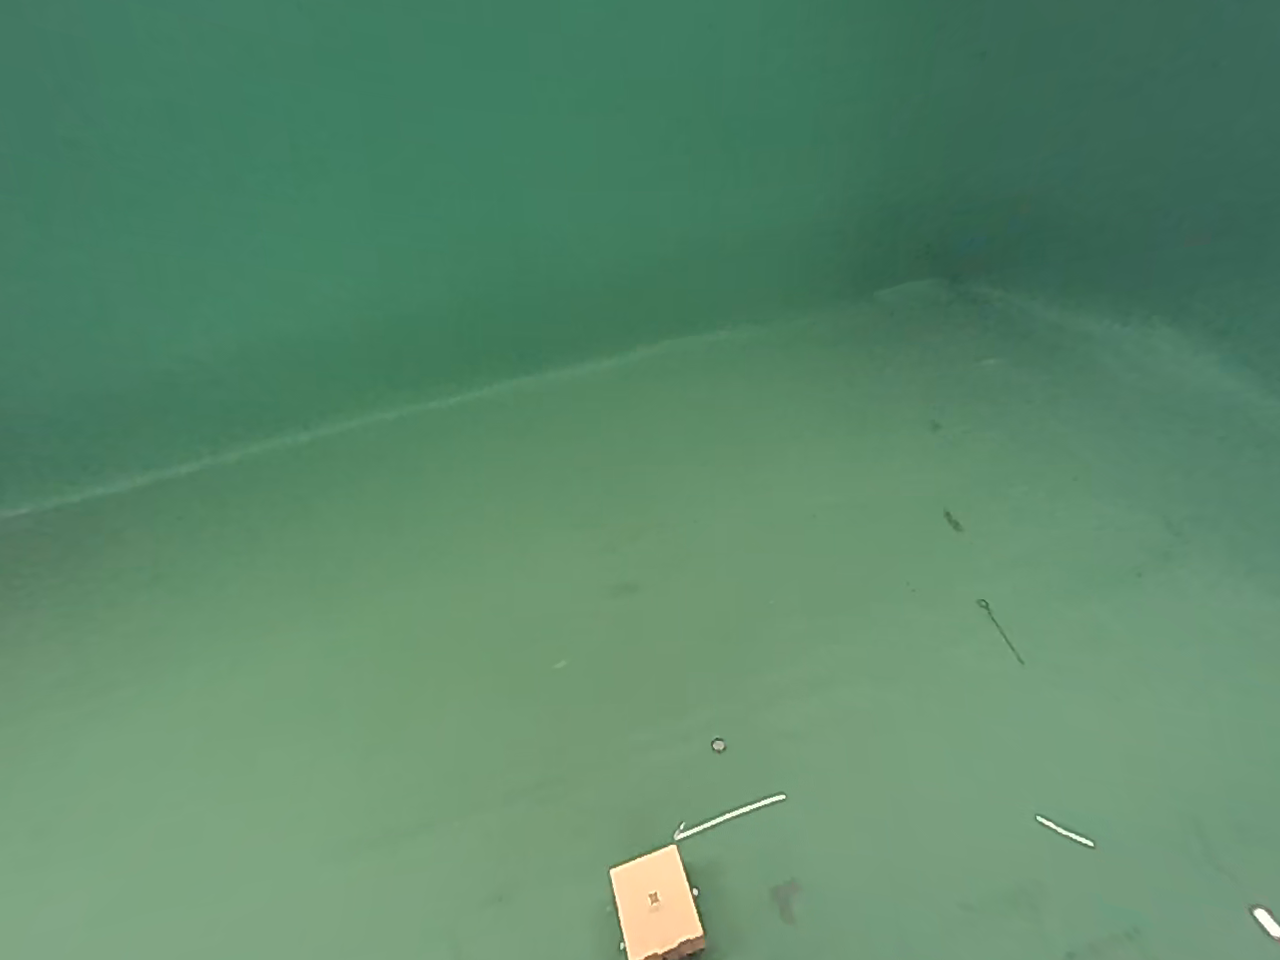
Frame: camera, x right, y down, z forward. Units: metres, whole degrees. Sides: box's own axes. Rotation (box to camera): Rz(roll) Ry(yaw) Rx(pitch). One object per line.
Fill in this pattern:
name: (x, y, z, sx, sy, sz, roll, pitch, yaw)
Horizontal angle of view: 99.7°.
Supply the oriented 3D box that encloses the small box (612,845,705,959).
small box: (0.042, 0.987, 1.246, 0.168, 0.176, 0.179, -16, 44, -9)
